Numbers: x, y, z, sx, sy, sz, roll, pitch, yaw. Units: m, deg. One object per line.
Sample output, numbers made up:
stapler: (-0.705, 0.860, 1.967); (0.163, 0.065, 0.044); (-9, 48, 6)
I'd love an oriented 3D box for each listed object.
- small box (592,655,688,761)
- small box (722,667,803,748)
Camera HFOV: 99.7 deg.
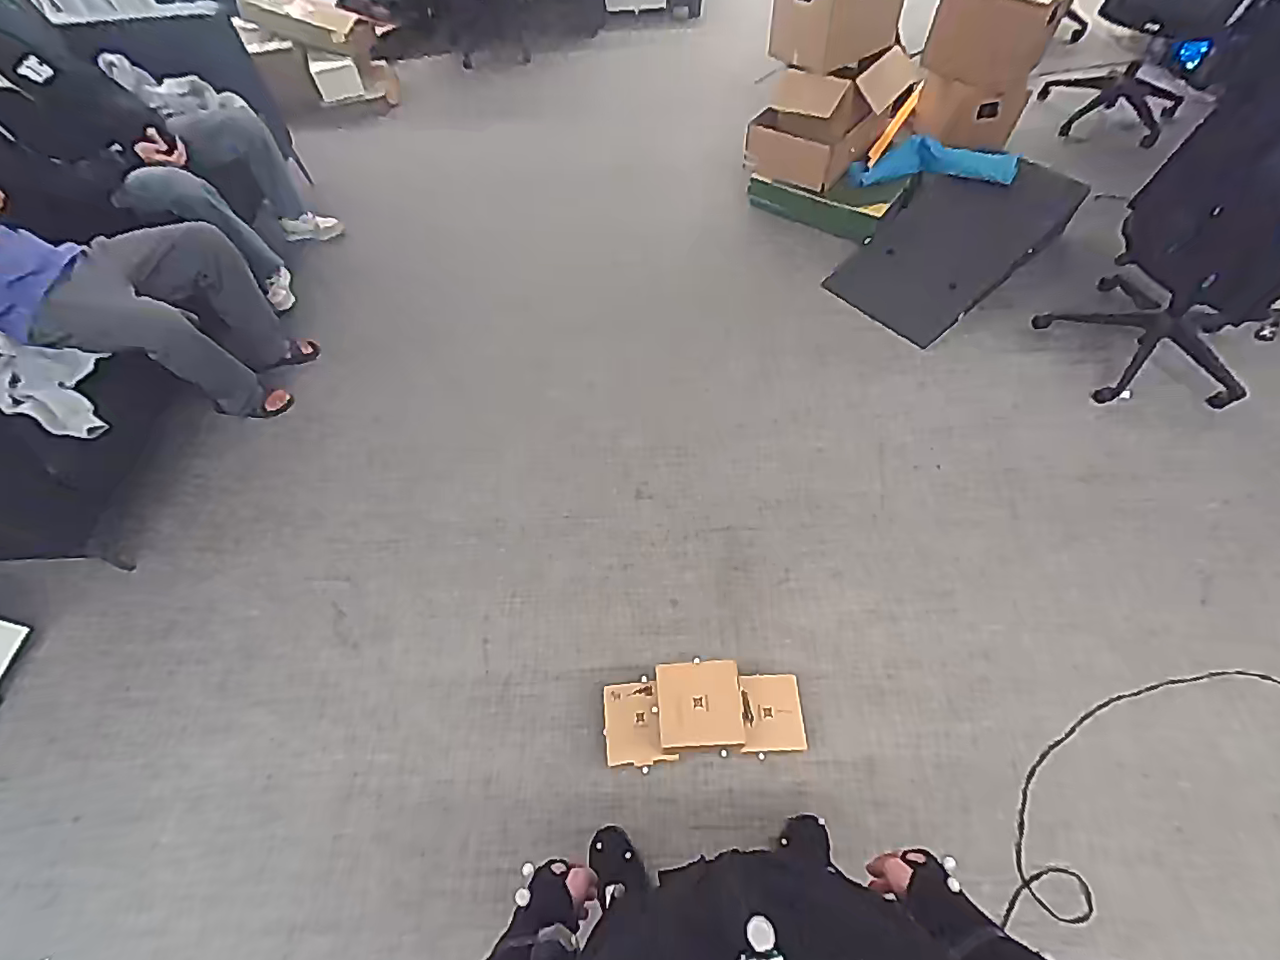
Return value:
small box: (0.006, 0.572, 1.344); (0.179, 0.176, 0.168); (-32, 60, -12)
small box: (0.293, 0.564, 1.333); (0.179, 0.176, 0.168); (0, 61, 5)
